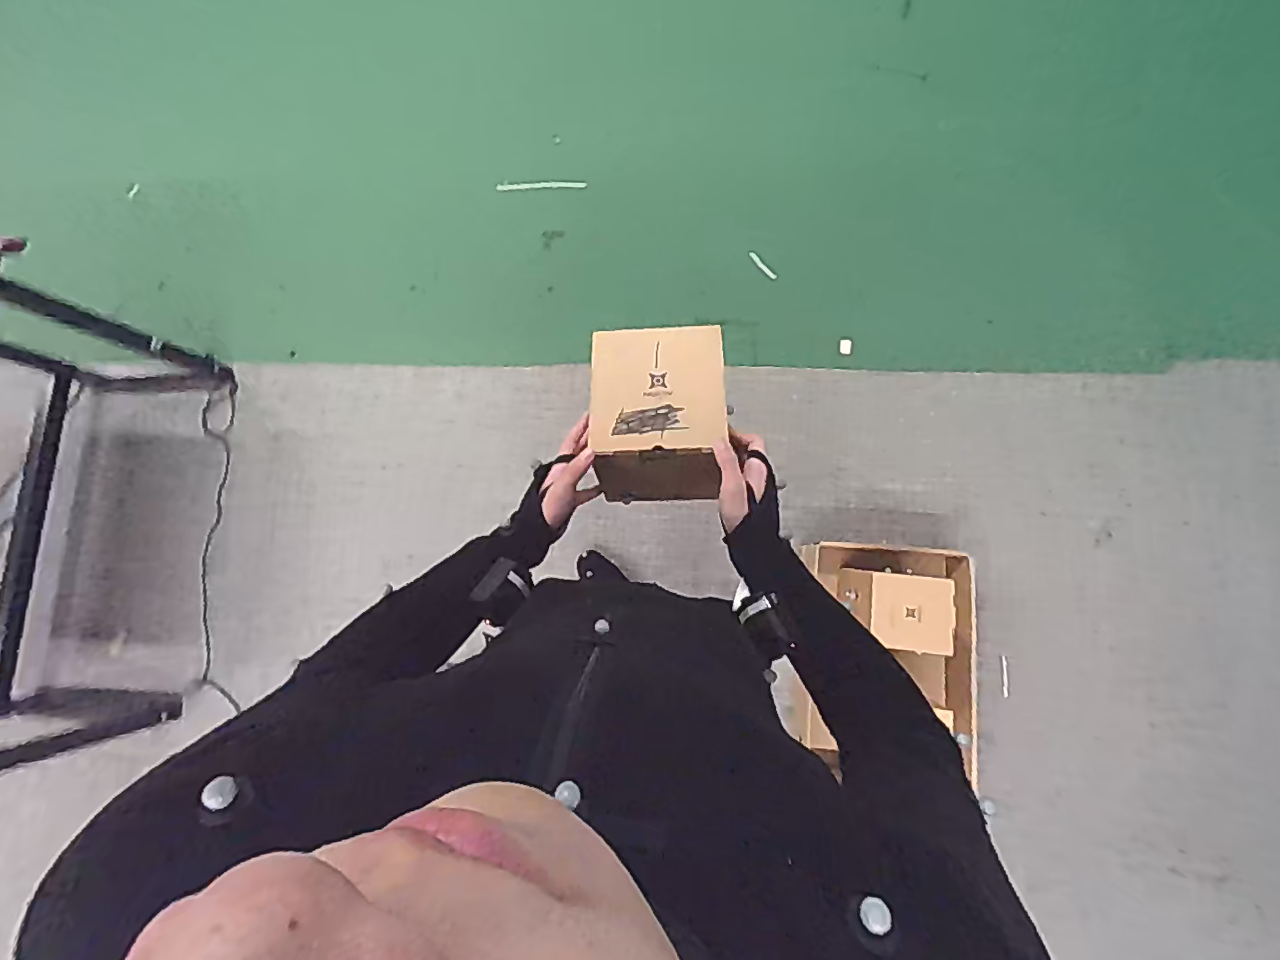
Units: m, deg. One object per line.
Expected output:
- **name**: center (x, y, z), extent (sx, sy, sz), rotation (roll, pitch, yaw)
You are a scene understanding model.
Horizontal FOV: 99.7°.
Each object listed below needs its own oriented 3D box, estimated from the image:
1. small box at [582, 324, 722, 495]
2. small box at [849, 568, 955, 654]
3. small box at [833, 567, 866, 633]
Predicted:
- **small box**: center (0.021, -0.083, 0.723), extent (0.168, 0.176, 0.179), rotation (-1, 67, 4)
- **small box**: center (0.609, 0.301, 1.272), extent (0.179, 0.176, 0.168), rotation (6, 83, 7)
- **small box**: center (0.628, 0.323, 1.432), extent (0.179, 0.176, 0.168), rotation (6, 82, 6)
